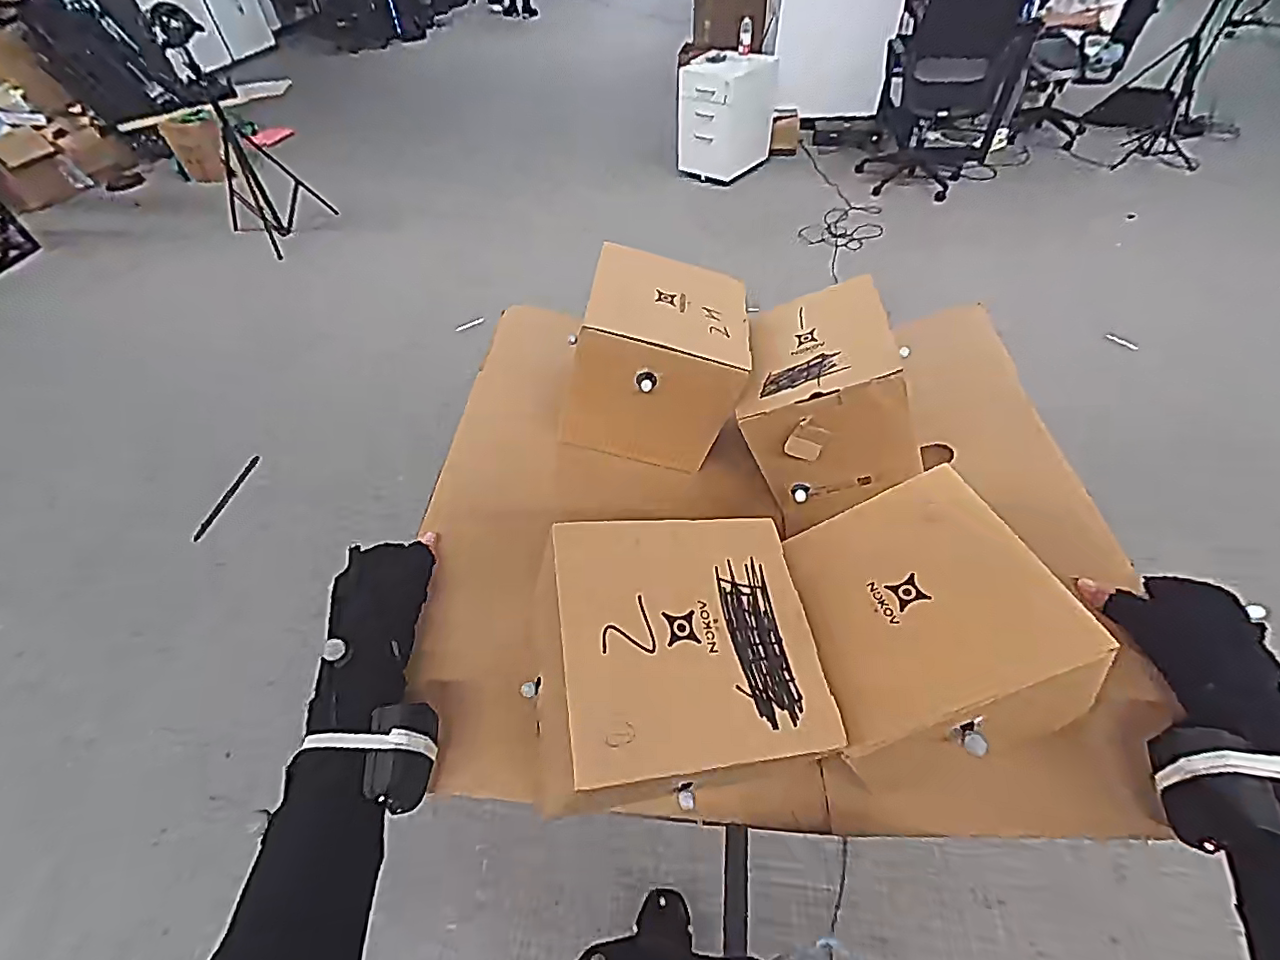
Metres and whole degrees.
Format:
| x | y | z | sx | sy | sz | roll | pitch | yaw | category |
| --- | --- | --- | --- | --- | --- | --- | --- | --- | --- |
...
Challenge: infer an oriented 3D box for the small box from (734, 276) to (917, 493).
| x | y | z | sx | sy | sz | roll | pitch | yaw | category |
| --- | --- | --- | --- | --- | --- | --- | --- | --- | --- |
| 0.219 | -0.101 | 0.647 | 0.168 | 0.176 | 0.179 | -14 | 46 | 24 | small box |
